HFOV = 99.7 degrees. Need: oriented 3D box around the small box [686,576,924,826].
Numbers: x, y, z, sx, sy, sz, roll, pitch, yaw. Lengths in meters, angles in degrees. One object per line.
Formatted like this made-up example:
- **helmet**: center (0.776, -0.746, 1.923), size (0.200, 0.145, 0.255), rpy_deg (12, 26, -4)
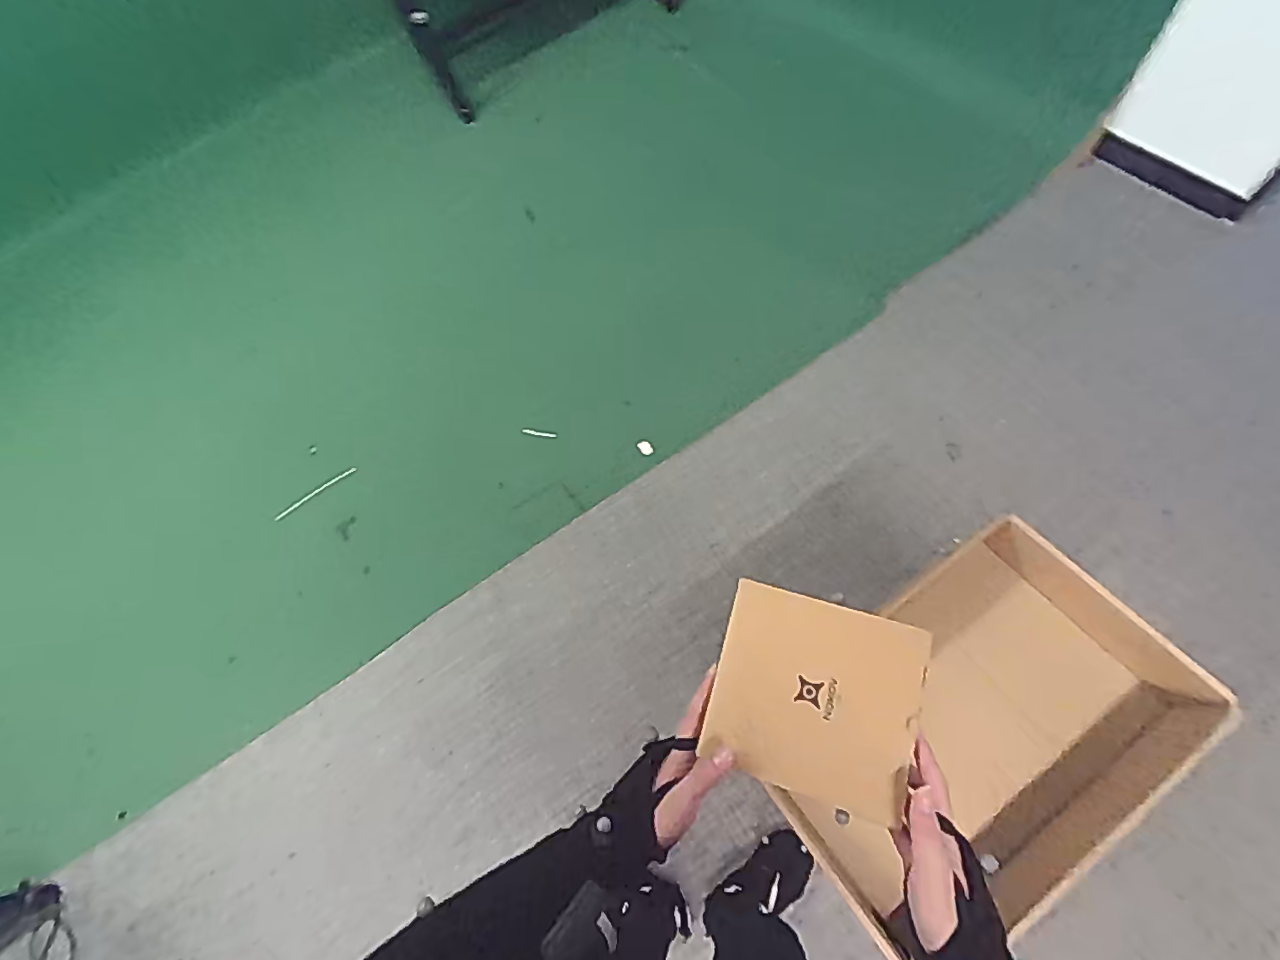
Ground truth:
- **small box**: center (0.156, 0.210, 0.547), size (0.179, 0.176, 0.168), rpy_deg (14, 74, 13)
